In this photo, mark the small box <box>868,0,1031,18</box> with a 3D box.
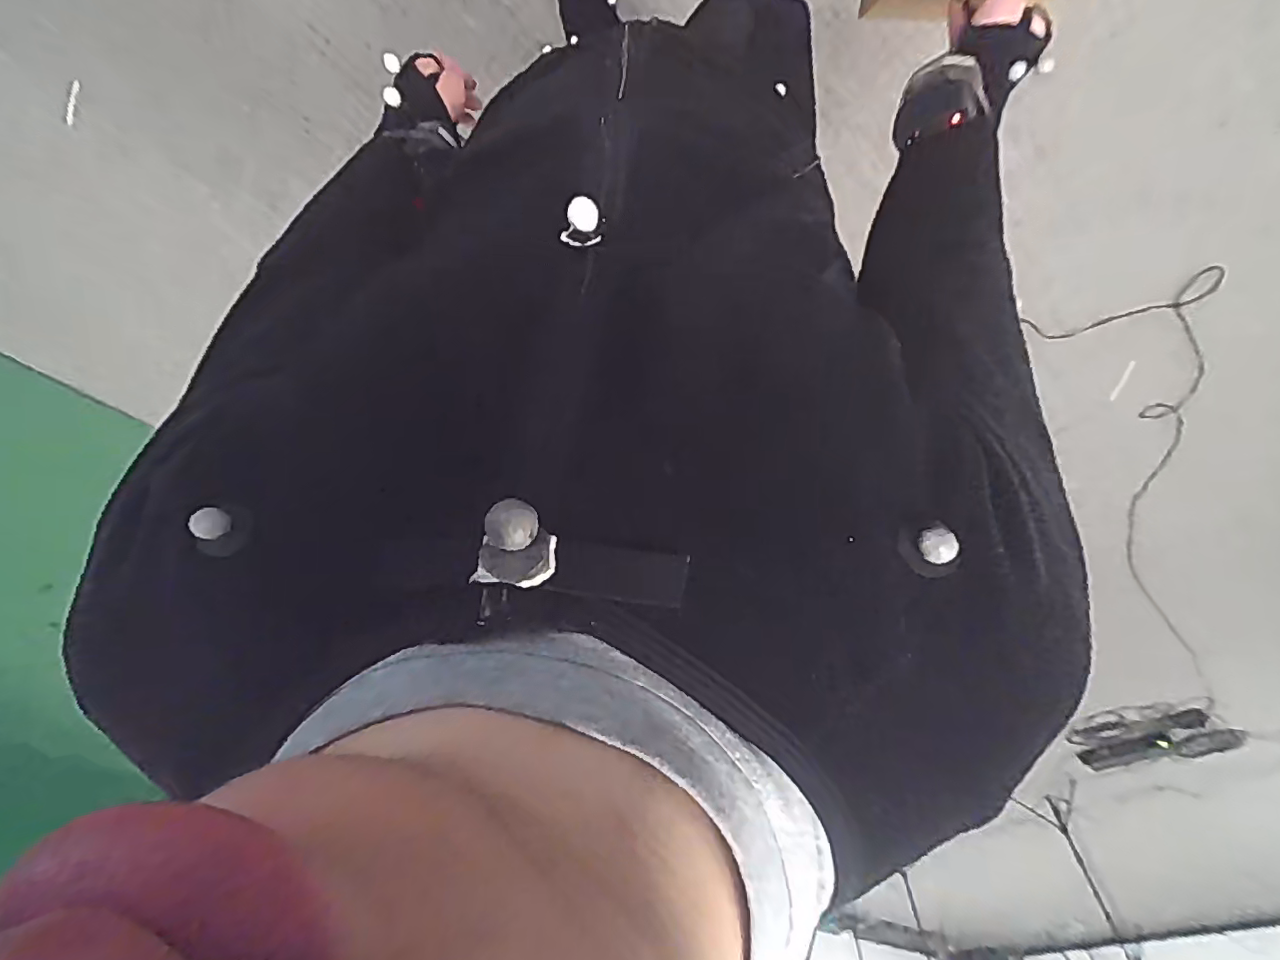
[{"bbox_3d":[0.324,-0.556,0.500,0.168,0.176,0.179,2,119,3],"label":"small box"}]
